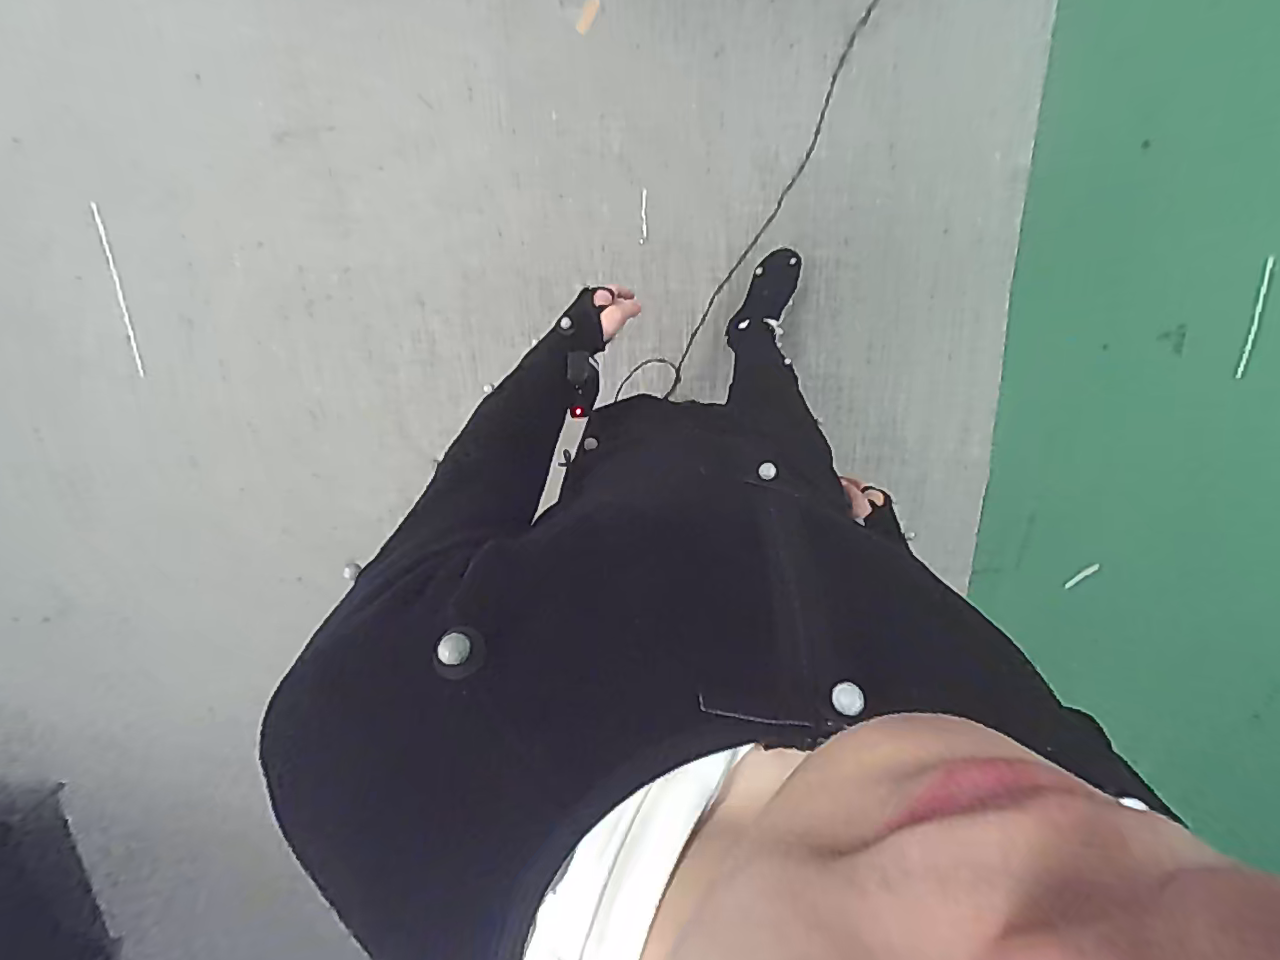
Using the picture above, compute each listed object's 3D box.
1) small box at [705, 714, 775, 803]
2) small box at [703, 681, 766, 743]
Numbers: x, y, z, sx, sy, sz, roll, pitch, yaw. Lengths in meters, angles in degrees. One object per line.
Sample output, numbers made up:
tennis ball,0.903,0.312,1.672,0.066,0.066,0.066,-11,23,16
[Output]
small box,0.287,0.814,1.594,0.179,0.176,0.168,2,105,1
small box,0.299,0.770,1.749,0.179,0.176,0.168,2,106,1
